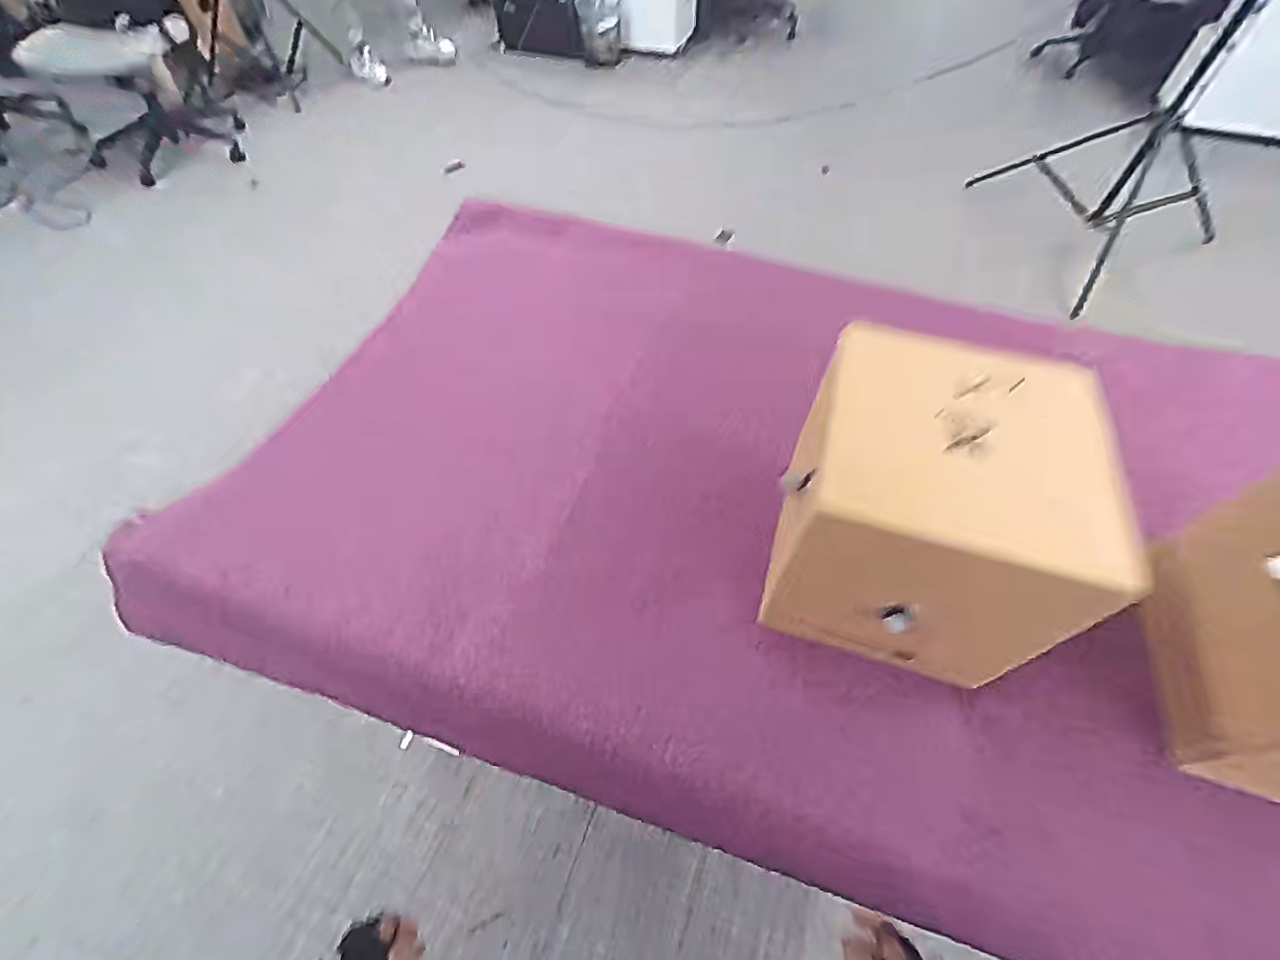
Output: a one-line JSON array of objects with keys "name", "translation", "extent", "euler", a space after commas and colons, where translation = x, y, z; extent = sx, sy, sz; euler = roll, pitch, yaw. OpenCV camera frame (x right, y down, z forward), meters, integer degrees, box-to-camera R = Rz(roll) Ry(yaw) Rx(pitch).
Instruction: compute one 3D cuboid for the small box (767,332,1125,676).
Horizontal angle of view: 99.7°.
[{"name": "small box", "translation": [0.201, 0.023, 0.408], "extent": [0.168, 0.176, 0.179], "euler": [16, 54, 10]}]
